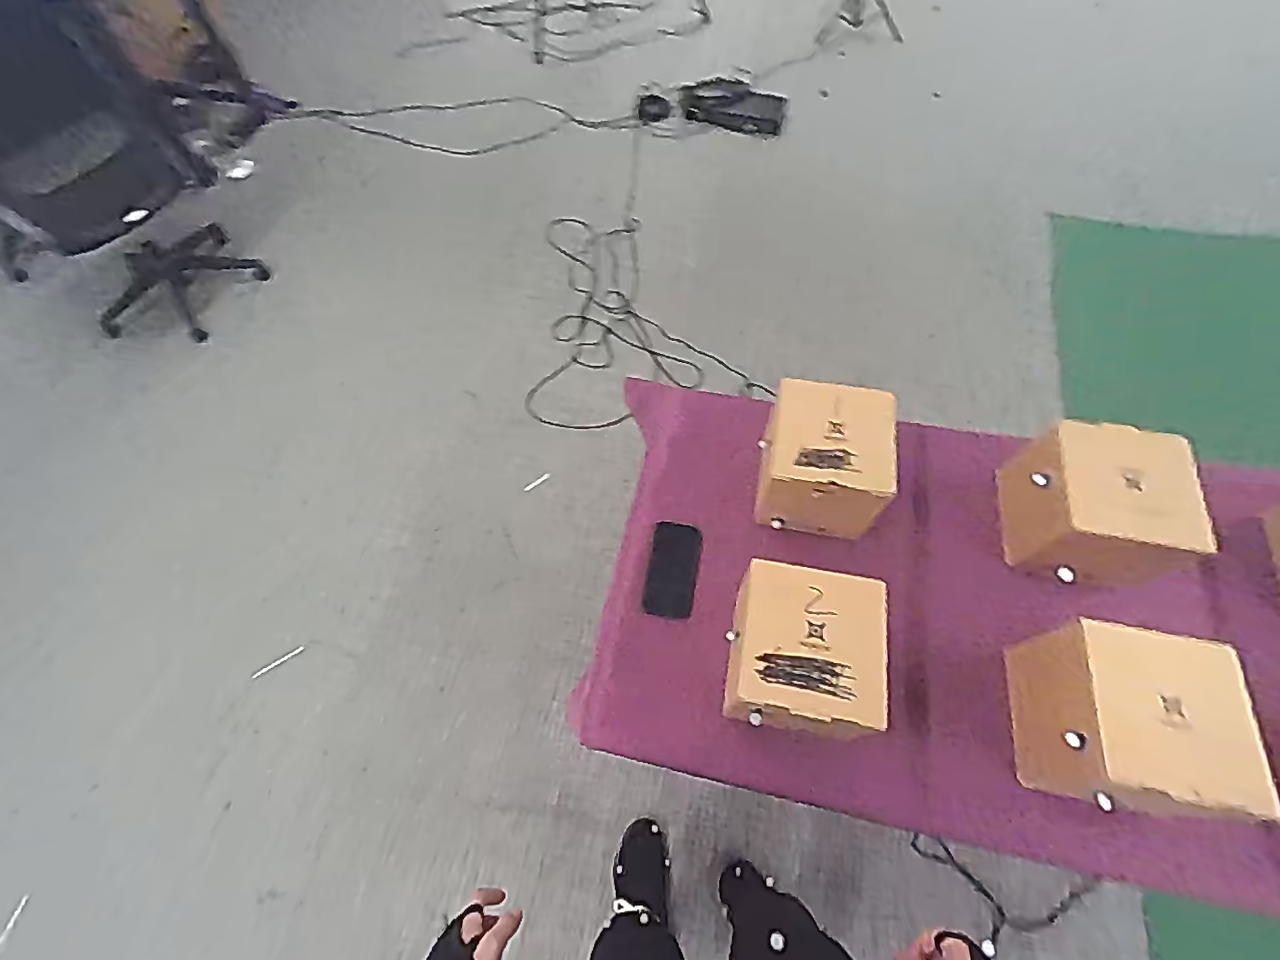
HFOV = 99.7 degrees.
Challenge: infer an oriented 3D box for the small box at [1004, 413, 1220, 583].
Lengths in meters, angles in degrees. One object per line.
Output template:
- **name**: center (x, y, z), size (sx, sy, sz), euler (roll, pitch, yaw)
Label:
- **small box**: center (0.658, 0.031, 0.783), size (0.168, 0.176, 0.179), euler (10, 65, 10)

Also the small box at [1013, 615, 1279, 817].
- **small box**: center (0.586, 0.284, 0.655), size (0.168, 0.176, 0.179), euler (10, 63, 8)

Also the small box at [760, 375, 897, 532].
- **small box**: center (0.284, -0.034, 0.838), size (0.168, 0.176, 0.179), euler (9, 63, 8)
